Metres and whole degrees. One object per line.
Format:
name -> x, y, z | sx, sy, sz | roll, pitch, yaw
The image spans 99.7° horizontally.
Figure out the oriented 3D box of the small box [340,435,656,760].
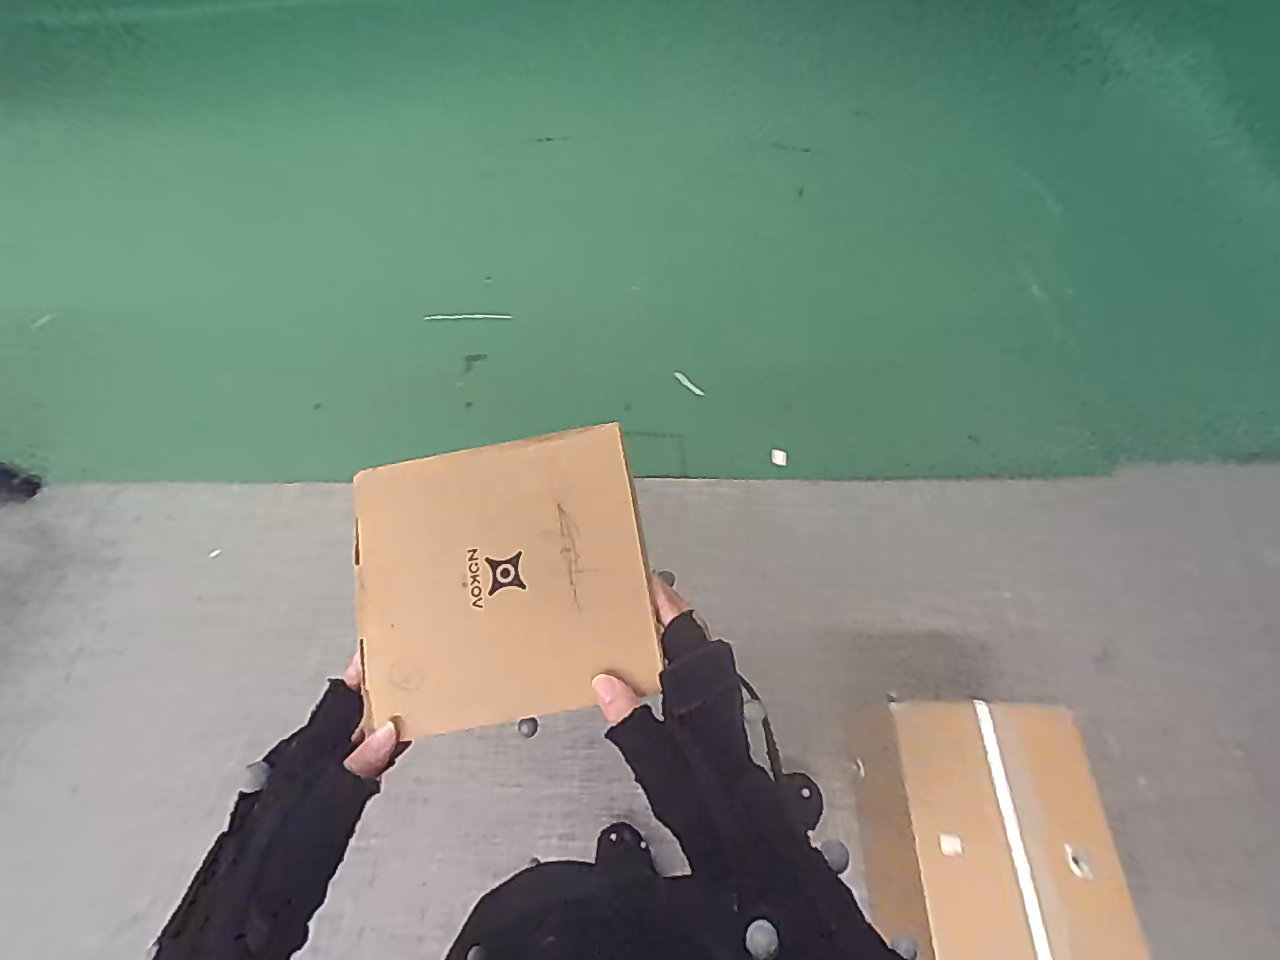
small box -> -0.088, 0.085, 0.403 | 0.179, 0.176, 0.168 | -13, 76, -2
